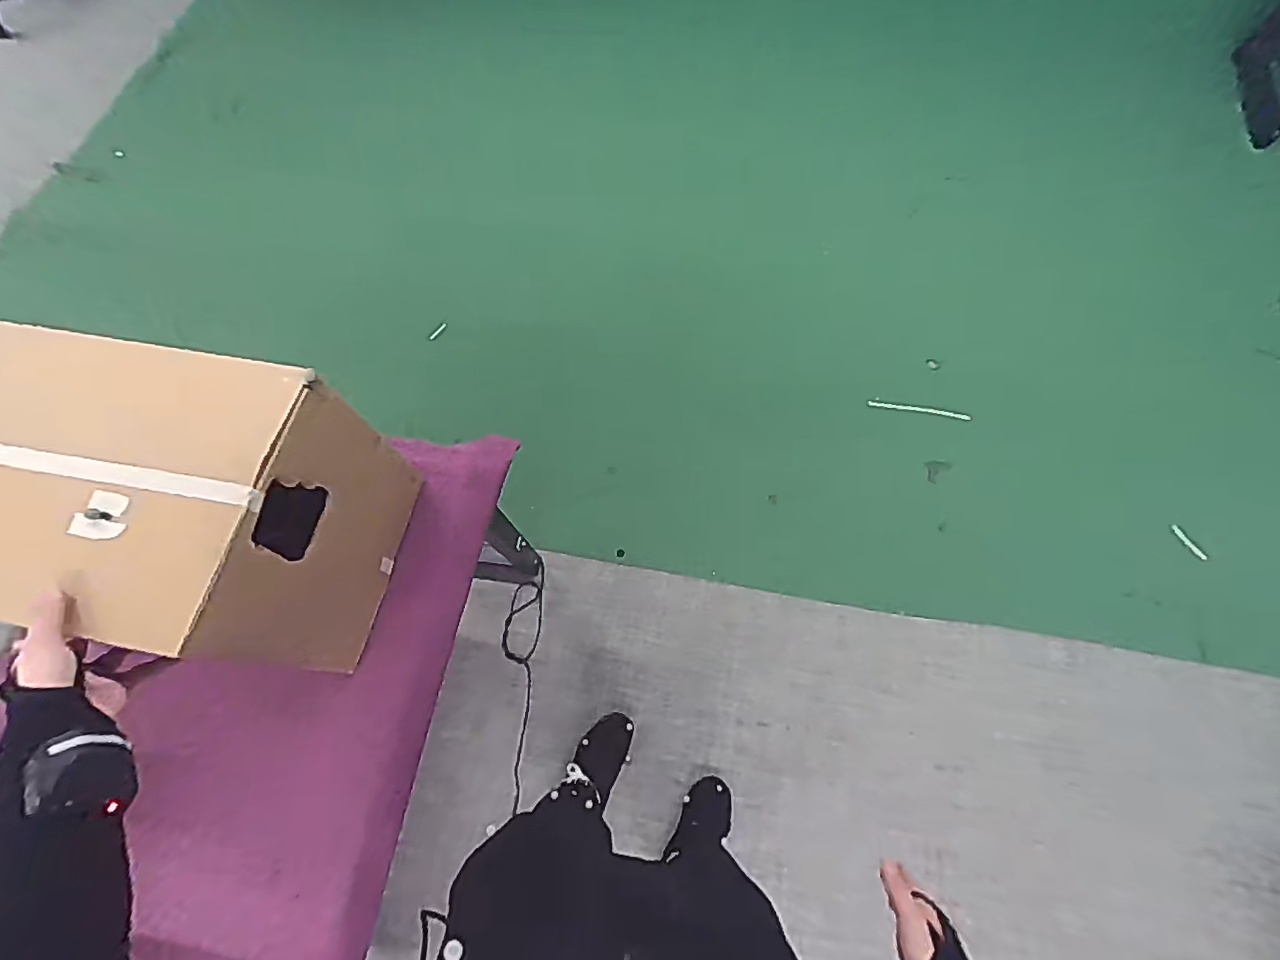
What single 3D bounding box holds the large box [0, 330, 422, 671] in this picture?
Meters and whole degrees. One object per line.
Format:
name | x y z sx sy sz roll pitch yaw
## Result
large box | -0.568 0.048 0.693 0.408 0.320 0.320 9 69 4
